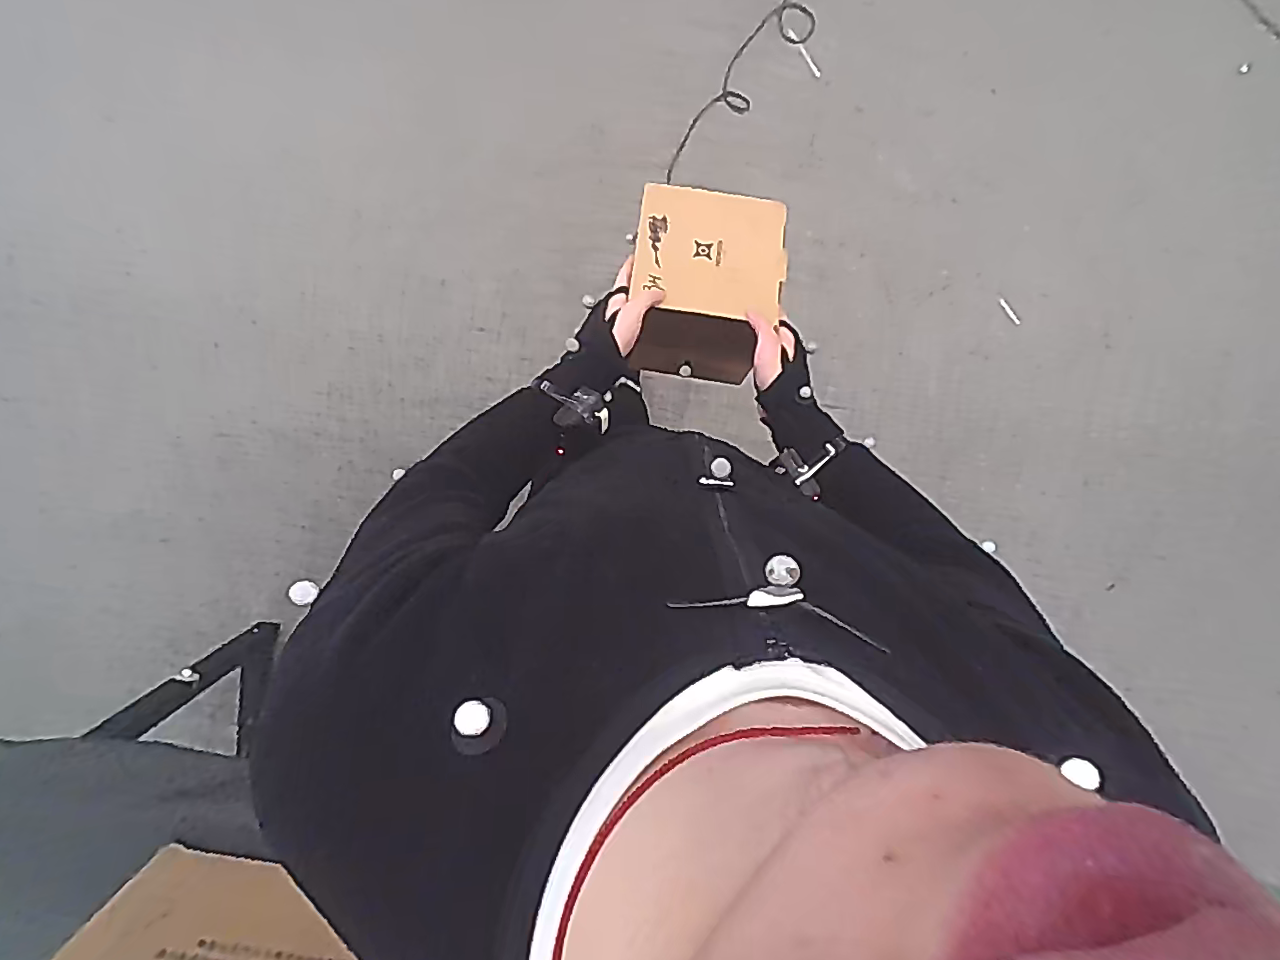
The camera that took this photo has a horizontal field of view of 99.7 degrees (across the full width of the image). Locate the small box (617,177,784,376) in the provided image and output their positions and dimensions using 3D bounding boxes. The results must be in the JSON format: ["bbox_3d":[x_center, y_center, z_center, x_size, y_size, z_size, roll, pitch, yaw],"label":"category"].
[{"bbox_3d":[0.071,-0.251,0.706,0.179,0.176,0.168,8,74,-4],"label":"small box"}]
